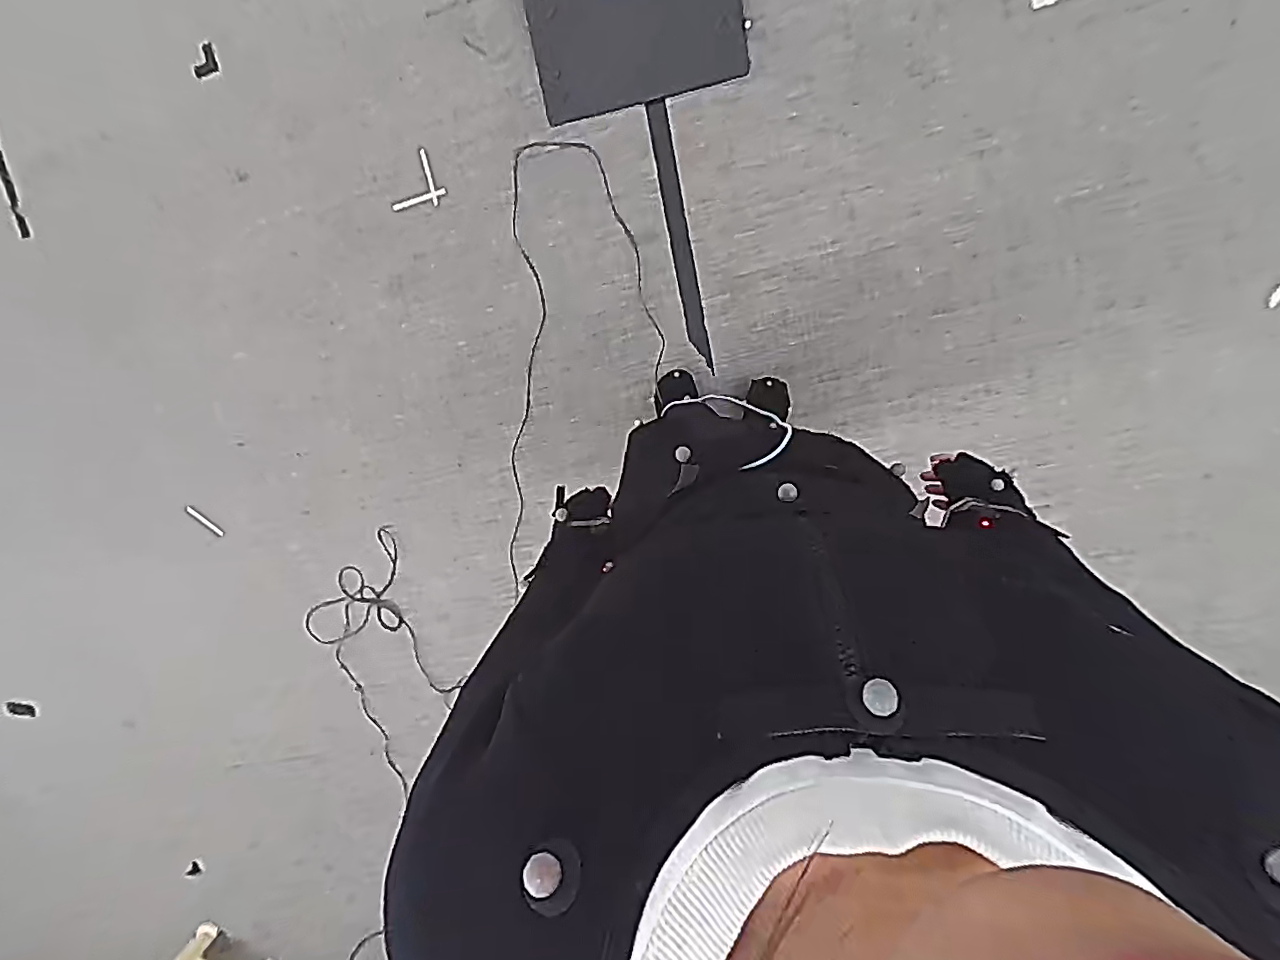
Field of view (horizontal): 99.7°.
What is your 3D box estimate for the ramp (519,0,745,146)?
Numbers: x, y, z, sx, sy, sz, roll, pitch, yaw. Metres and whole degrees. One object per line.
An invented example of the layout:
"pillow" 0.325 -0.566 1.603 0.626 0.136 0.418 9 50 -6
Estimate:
"ramp" -0.088 -1.344 1.174 0.509 0.206 0.991 -12 99 9
